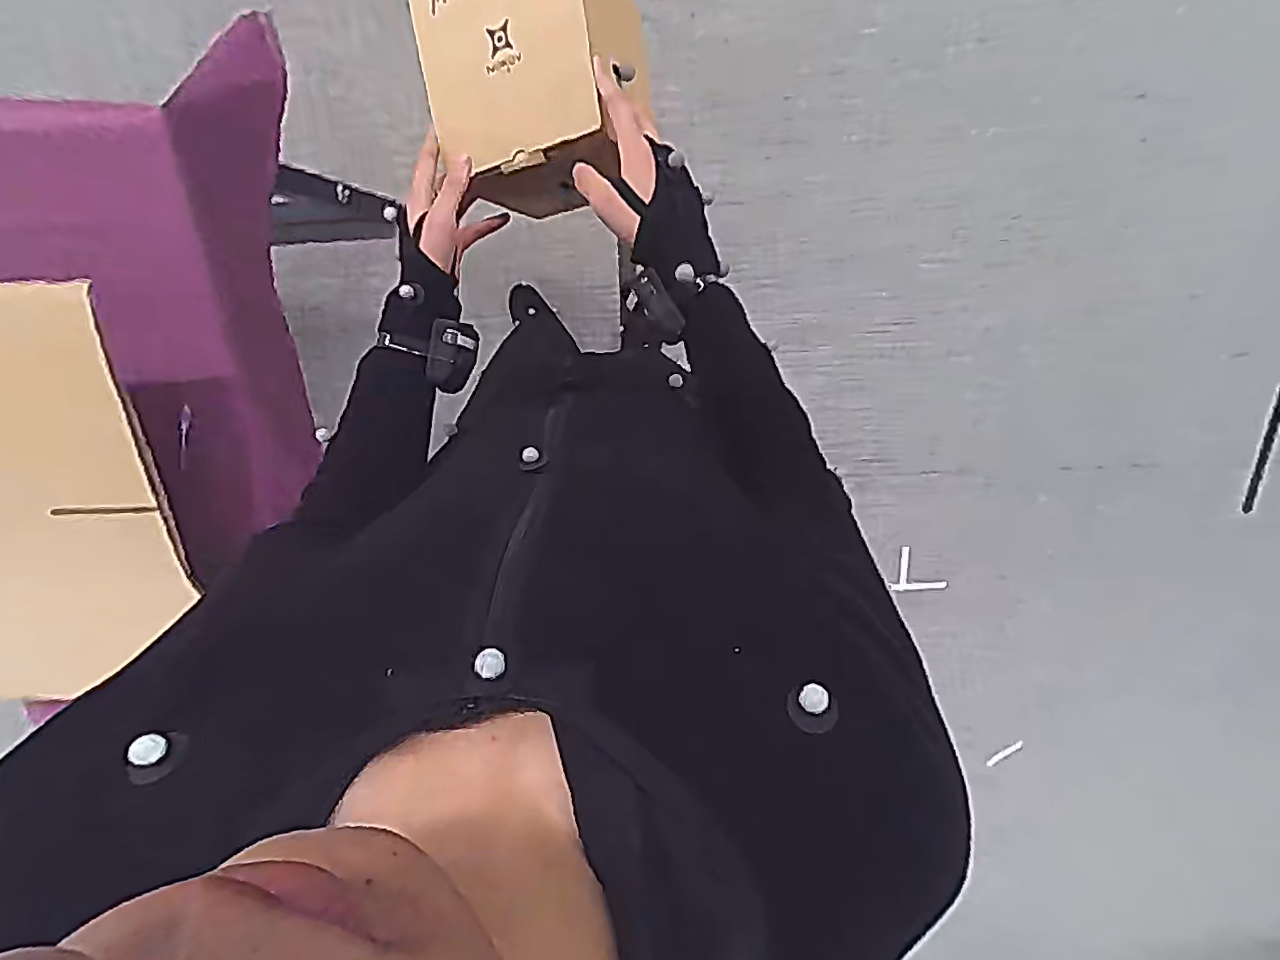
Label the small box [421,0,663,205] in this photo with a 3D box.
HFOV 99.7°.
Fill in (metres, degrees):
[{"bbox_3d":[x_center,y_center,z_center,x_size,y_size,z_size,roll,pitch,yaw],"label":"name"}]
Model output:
[{"bbox_3d":[-0.083,-0.393,0.542,0.168,0.176,0.179,-4,103,21],"label":"small box"}]
